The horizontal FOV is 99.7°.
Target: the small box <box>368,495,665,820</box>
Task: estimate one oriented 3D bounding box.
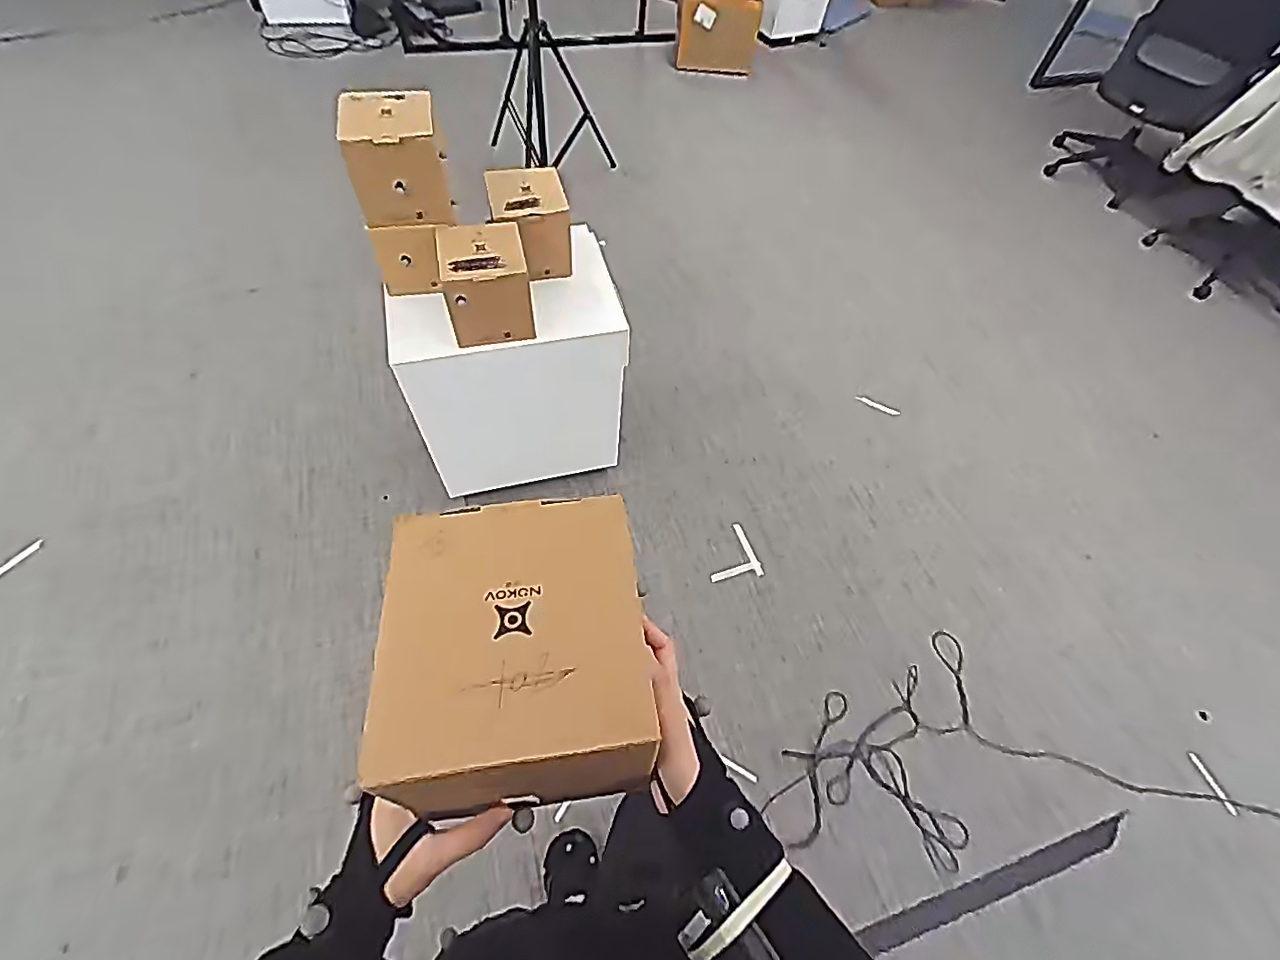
[{"bbox_3d":[-0.081,0.135,0.411,0.168,0.176,0.179,-7,52,-7],"label":"small box"}]

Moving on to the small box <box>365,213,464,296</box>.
[{"bbox_3d":[-0.492,-0.527,1.199,0.168,0.176,0.179,-9,59,-11],"label":"small box"}]

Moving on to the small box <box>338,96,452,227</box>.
[{"bbox_3d":[-0.474,-0.621,1.065,0.168,0.176,0.179,-9,60,-11],"label":"small box"}]
